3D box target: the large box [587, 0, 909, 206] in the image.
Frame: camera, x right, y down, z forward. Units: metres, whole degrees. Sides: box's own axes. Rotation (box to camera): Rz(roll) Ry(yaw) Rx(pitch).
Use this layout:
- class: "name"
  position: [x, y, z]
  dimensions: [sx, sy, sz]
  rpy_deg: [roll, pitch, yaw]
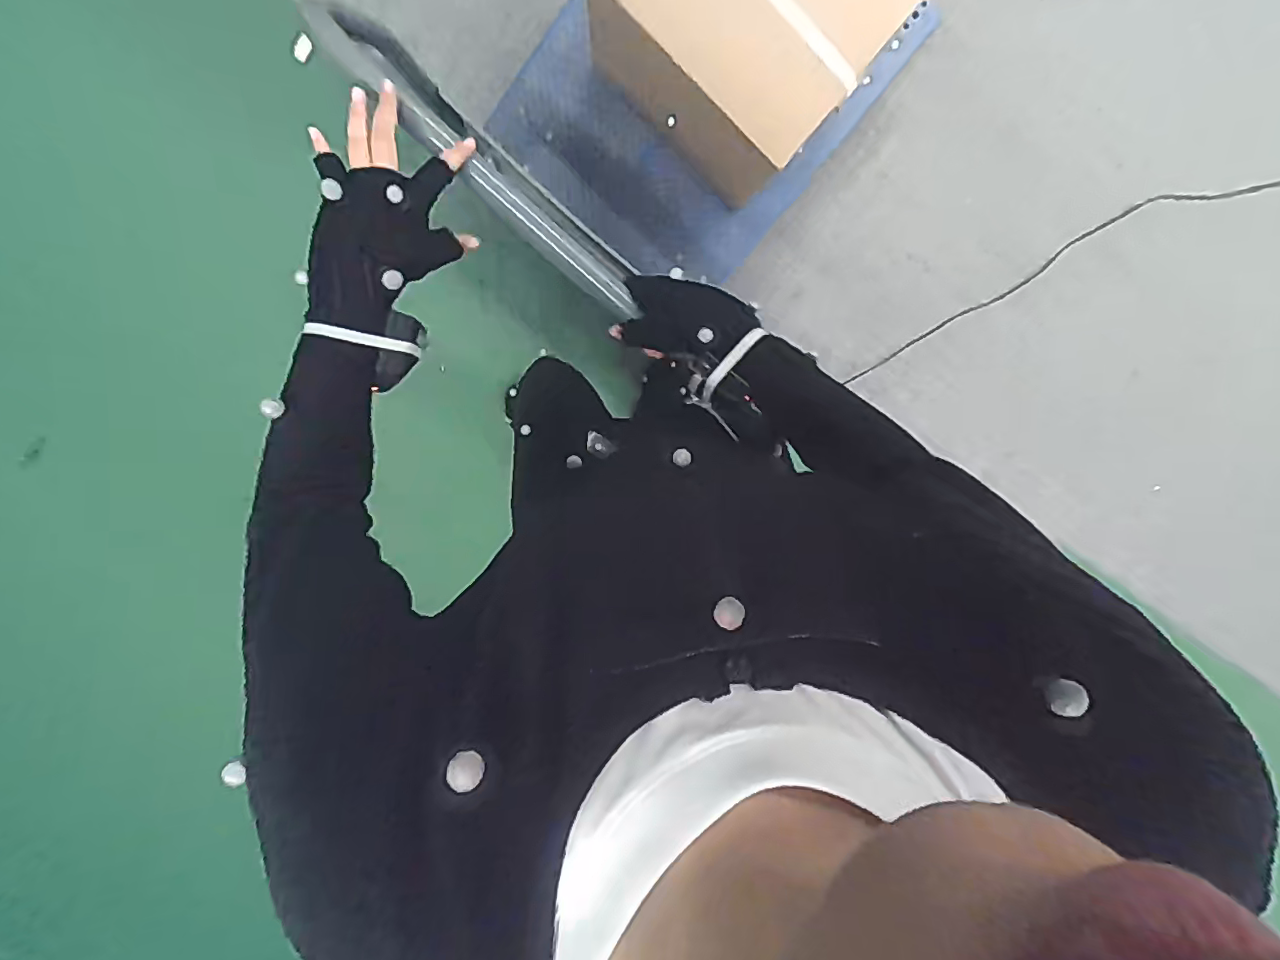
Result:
- class: "large box"
  position: [0.161, -0.772, 0.945]
  dimensions: [0.408, 0.320, 0.320]
  rpy_deg: [39, 99, -10]
